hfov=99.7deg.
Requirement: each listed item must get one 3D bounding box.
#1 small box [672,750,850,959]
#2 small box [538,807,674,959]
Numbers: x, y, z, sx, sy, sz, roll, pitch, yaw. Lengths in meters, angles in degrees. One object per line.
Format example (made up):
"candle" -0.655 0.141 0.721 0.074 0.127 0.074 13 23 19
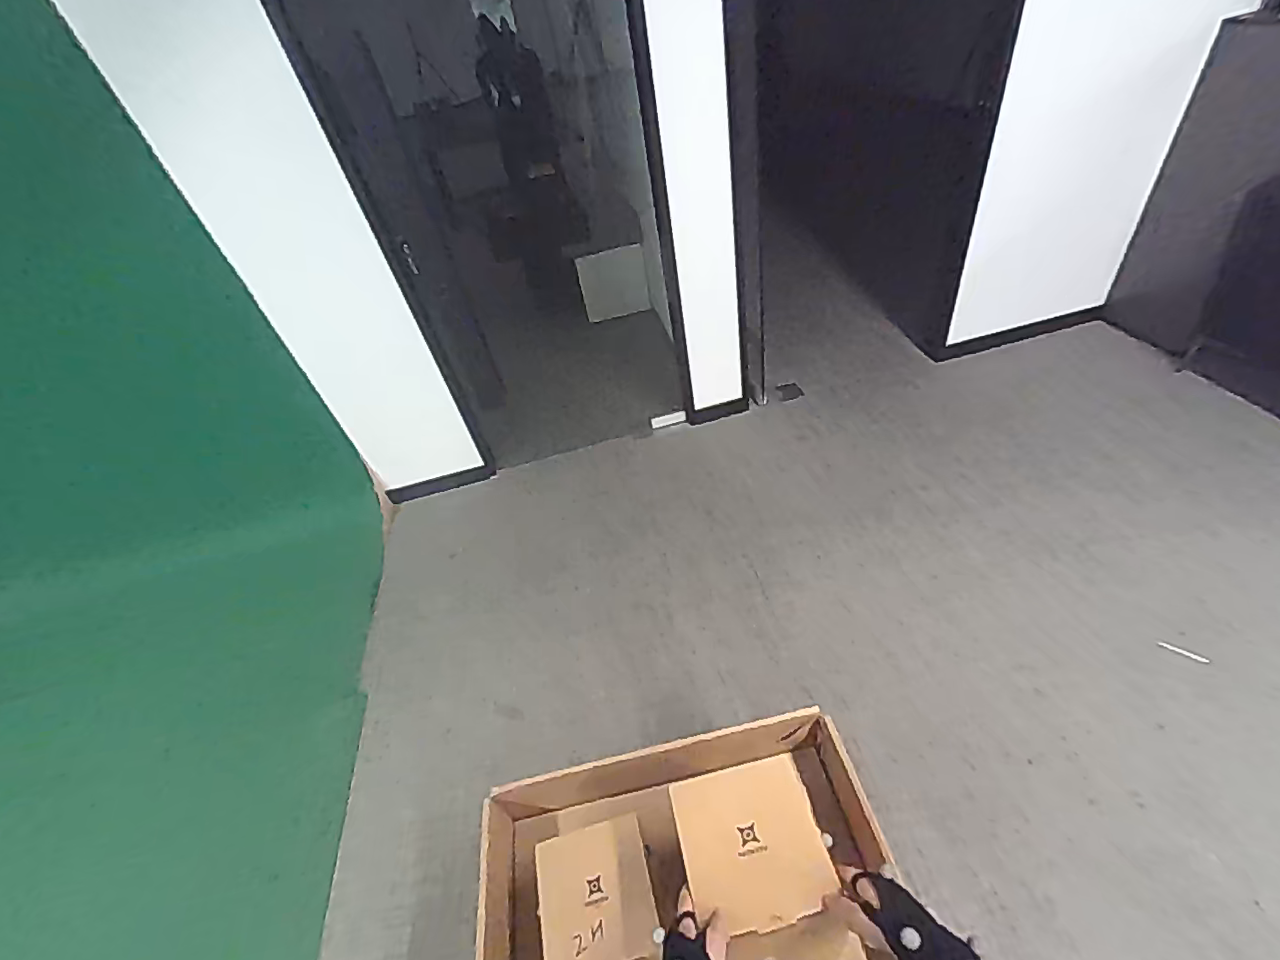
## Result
"small box" 0.144 0.484 0.683 0.168 0.176 0.179 -14 33 -2
"small box" -0.052 0.647 0.834 0.168 0.176 0.179 -15 42 -3
